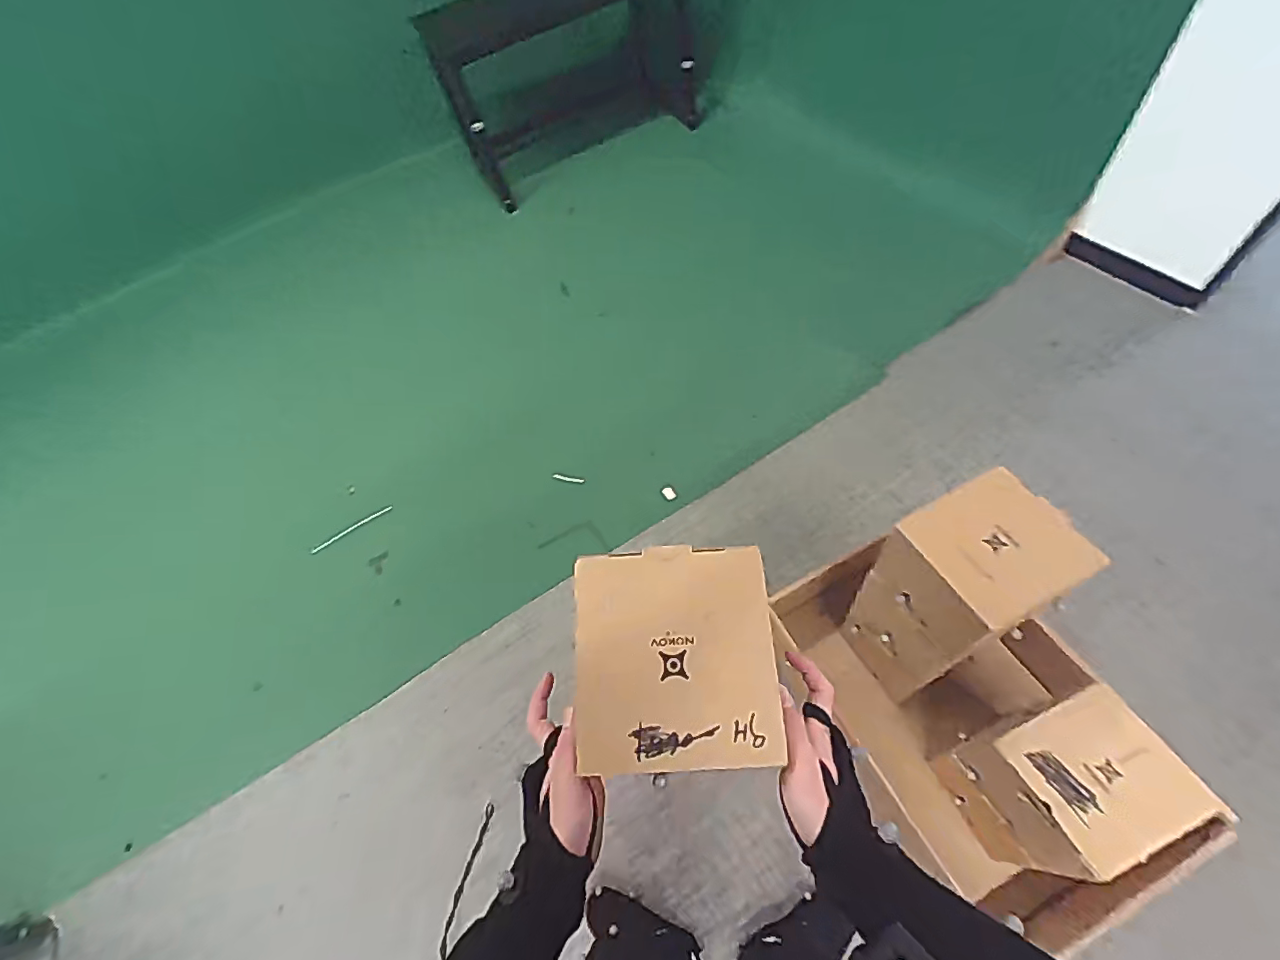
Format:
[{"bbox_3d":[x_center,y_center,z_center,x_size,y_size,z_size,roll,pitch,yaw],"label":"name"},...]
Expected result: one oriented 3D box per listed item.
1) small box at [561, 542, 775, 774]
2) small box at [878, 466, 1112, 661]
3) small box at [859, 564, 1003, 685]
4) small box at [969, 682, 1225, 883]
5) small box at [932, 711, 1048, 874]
[{"bbox_3d":[0.021,0.166,0.512,0.168,0.176,0.179,-4,70,2],"label":"small box"},{"bbox_3d":[0.454,0.117,0.729,0.179,0.176,0.168,-27,57,-6],"label":"small box"},{"bbox_3d":[0.480,0.201,0.866,0.179,0.176,0.168,-28,57,-6],"label":"small box"},{"bbox_3d":[0.579,0.401,0.723,0.179,0.176,0.168,-26,57,-5],"label":"small box"},{"bbox_3d":[0.607,0.487,0.861,0.179,0.176,0.168,-27,57,-5],"label":"small box"}]
